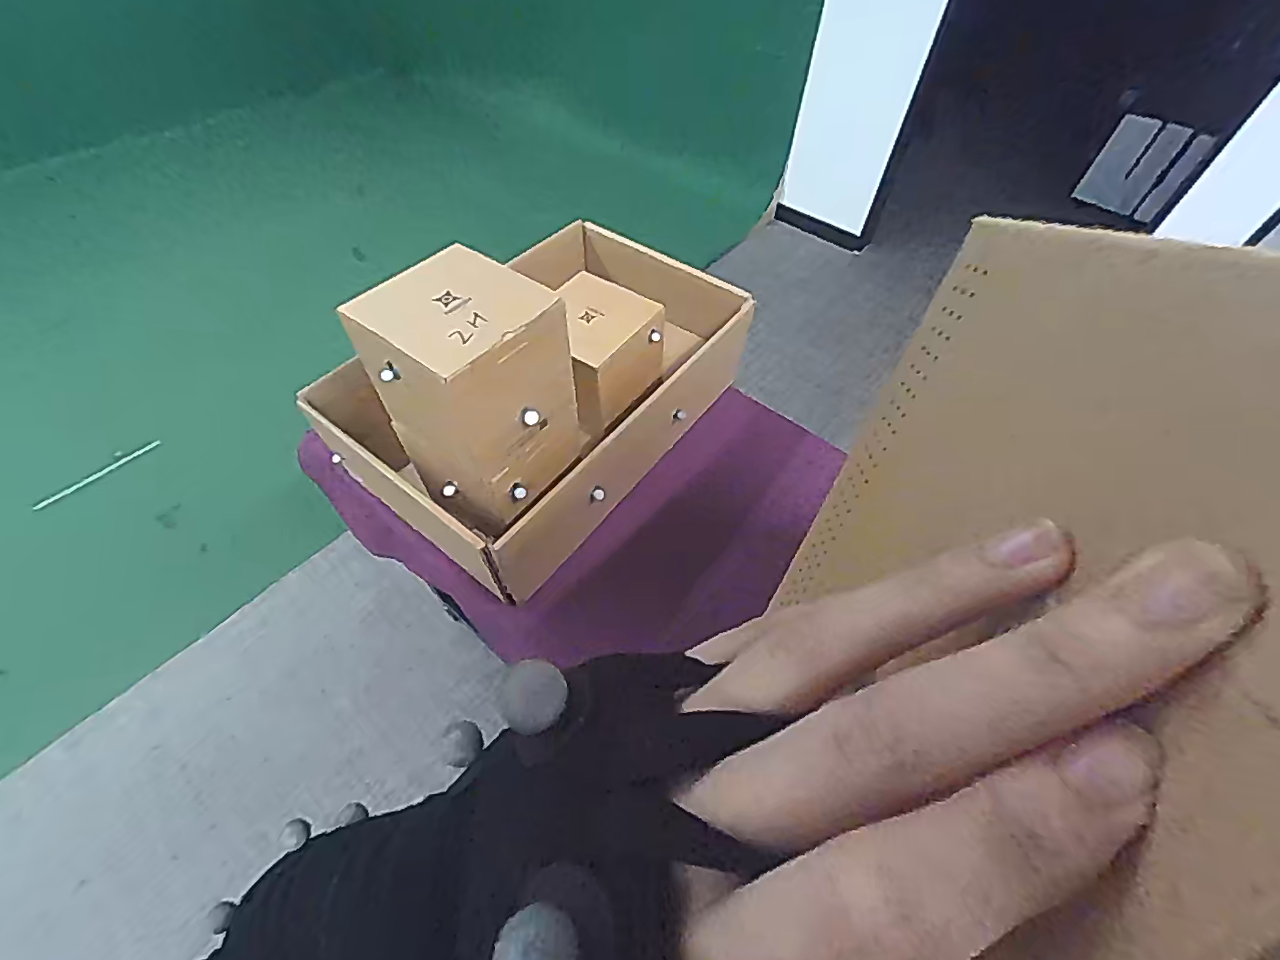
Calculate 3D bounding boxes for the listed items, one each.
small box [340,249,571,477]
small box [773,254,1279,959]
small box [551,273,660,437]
[{"bbox_3d":[-0.201,-0.134,0.636,0.179,0.176,0.168,33,60,21],"label":"small box"},{"bbox_3d":[0.141,0.057,0.138,0.168,0.179,0.176,18,30,1],"label":"small box"},{"bbox_3d":[-0.079,-0.201,0.892,0.168,0.176,0.179,30,59,20],"label":"small box"}]
